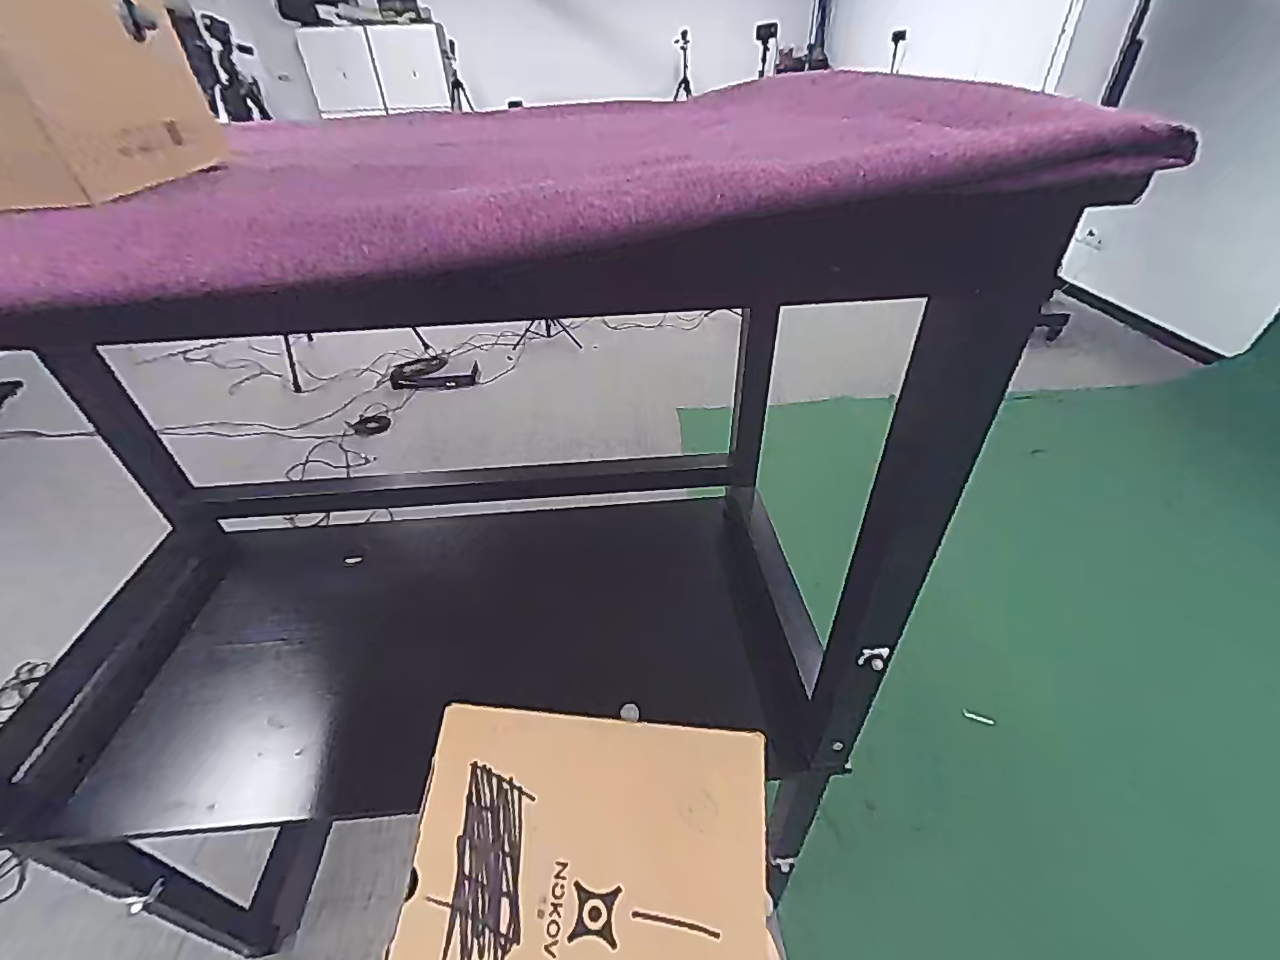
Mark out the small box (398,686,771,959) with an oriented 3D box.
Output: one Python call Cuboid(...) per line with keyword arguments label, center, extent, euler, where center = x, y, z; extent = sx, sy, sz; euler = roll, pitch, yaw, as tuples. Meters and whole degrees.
Cuboid(label="small box", center=(-0.018, 0.234, 0.333), extent=(0.179, 0.176, 0.168), euler=(3, 62, 6))
